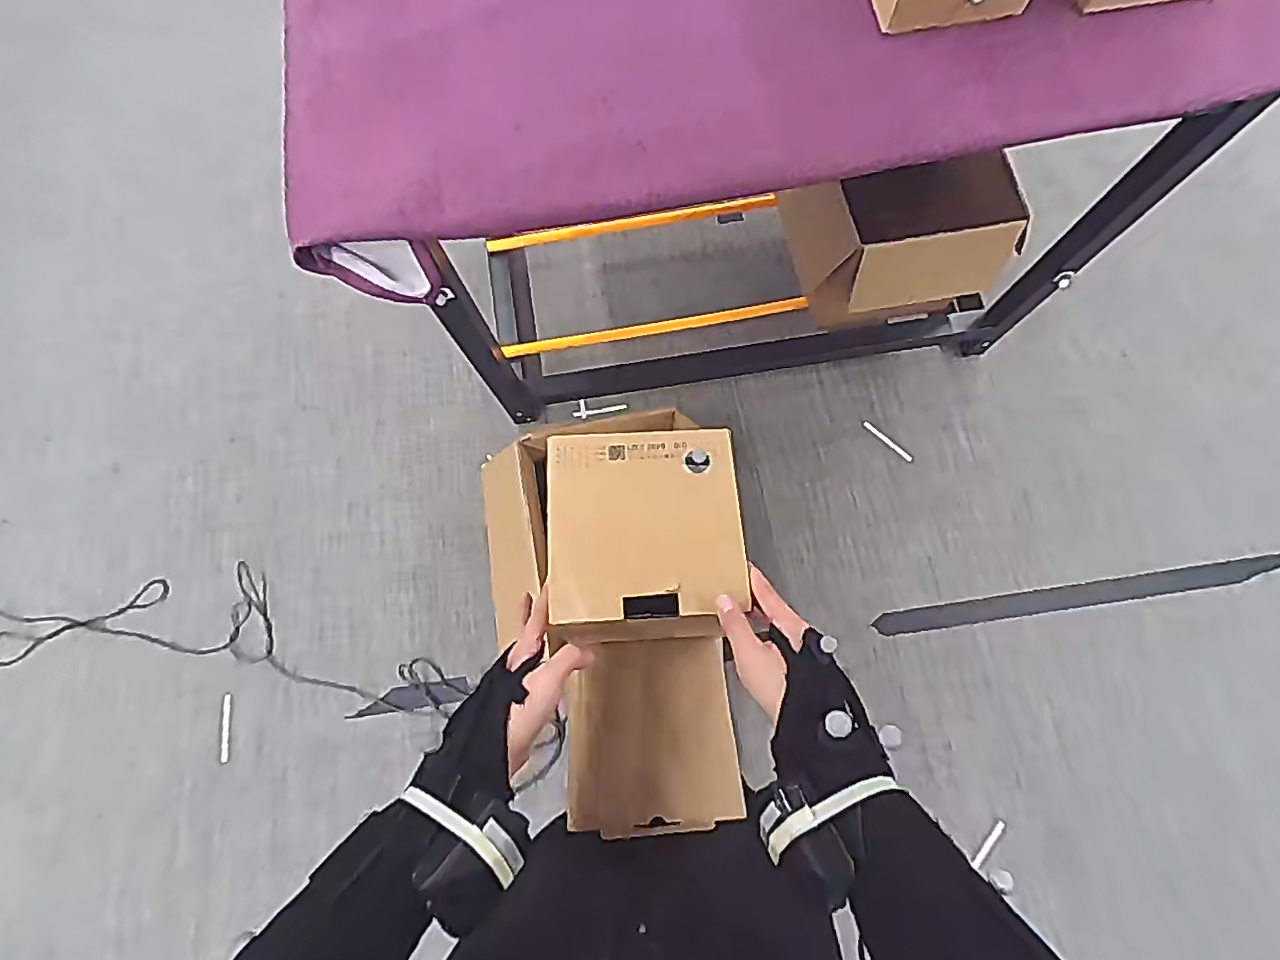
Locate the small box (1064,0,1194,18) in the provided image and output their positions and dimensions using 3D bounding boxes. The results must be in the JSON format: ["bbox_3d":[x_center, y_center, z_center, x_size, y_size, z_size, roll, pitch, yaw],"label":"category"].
[{"bbox_3d":[0.623,-0.690,0.628,0.179,0.176,0.168,-8,72,0],"label":"small box"}]

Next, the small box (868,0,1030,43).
[{"bbox_3d":[0.378,-0.665,0.629,0.179,0.176,0.168,-8,73,0],"label":"small box"}]
